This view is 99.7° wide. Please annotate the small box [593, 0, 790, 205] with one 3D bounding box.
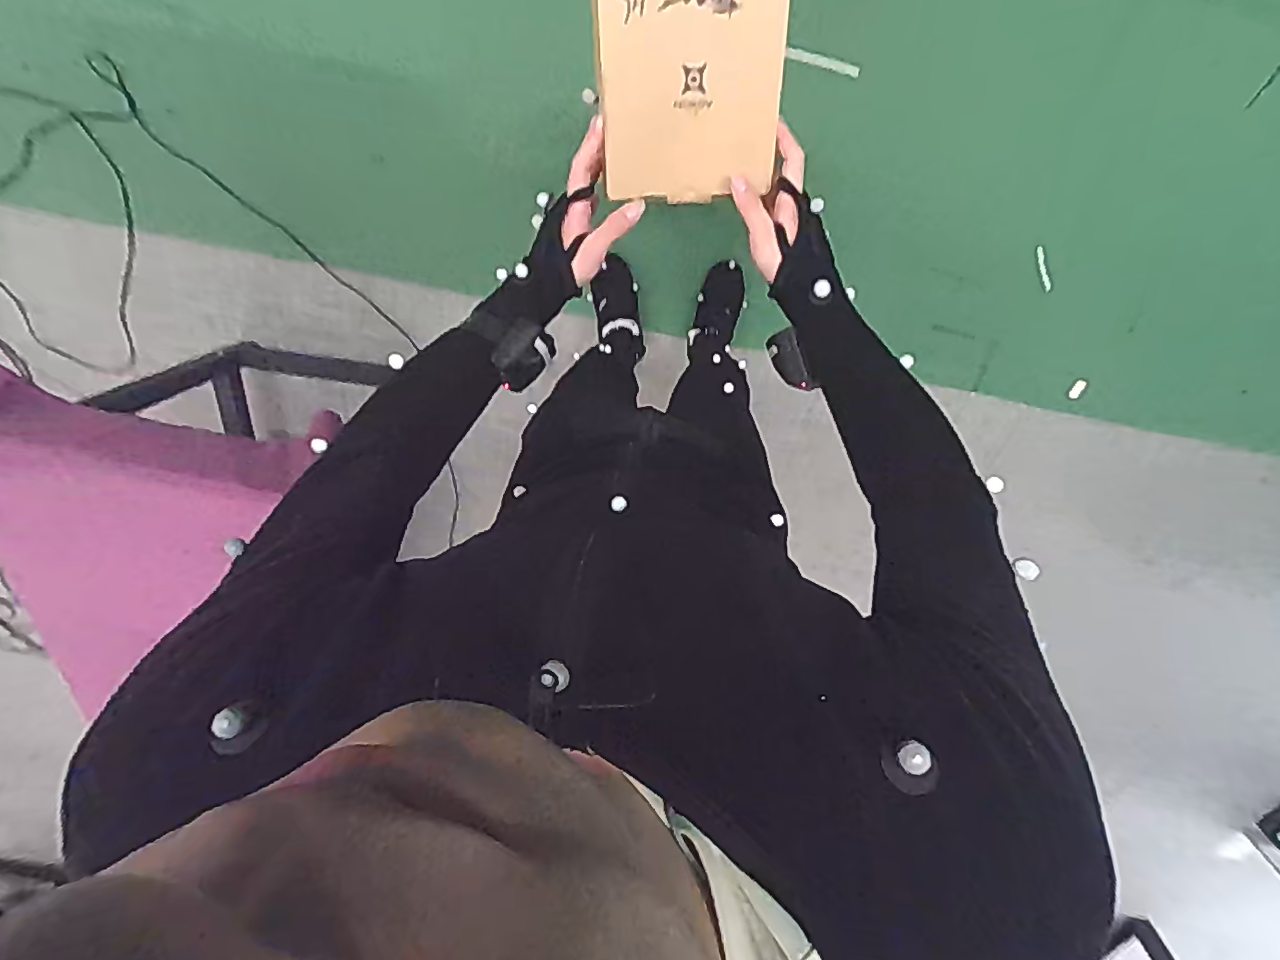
[{"bbox_3d":[0.039,-0.391,0.548,0.168,0.176,0.179,-4,125,-4],"label":"small box"}]
